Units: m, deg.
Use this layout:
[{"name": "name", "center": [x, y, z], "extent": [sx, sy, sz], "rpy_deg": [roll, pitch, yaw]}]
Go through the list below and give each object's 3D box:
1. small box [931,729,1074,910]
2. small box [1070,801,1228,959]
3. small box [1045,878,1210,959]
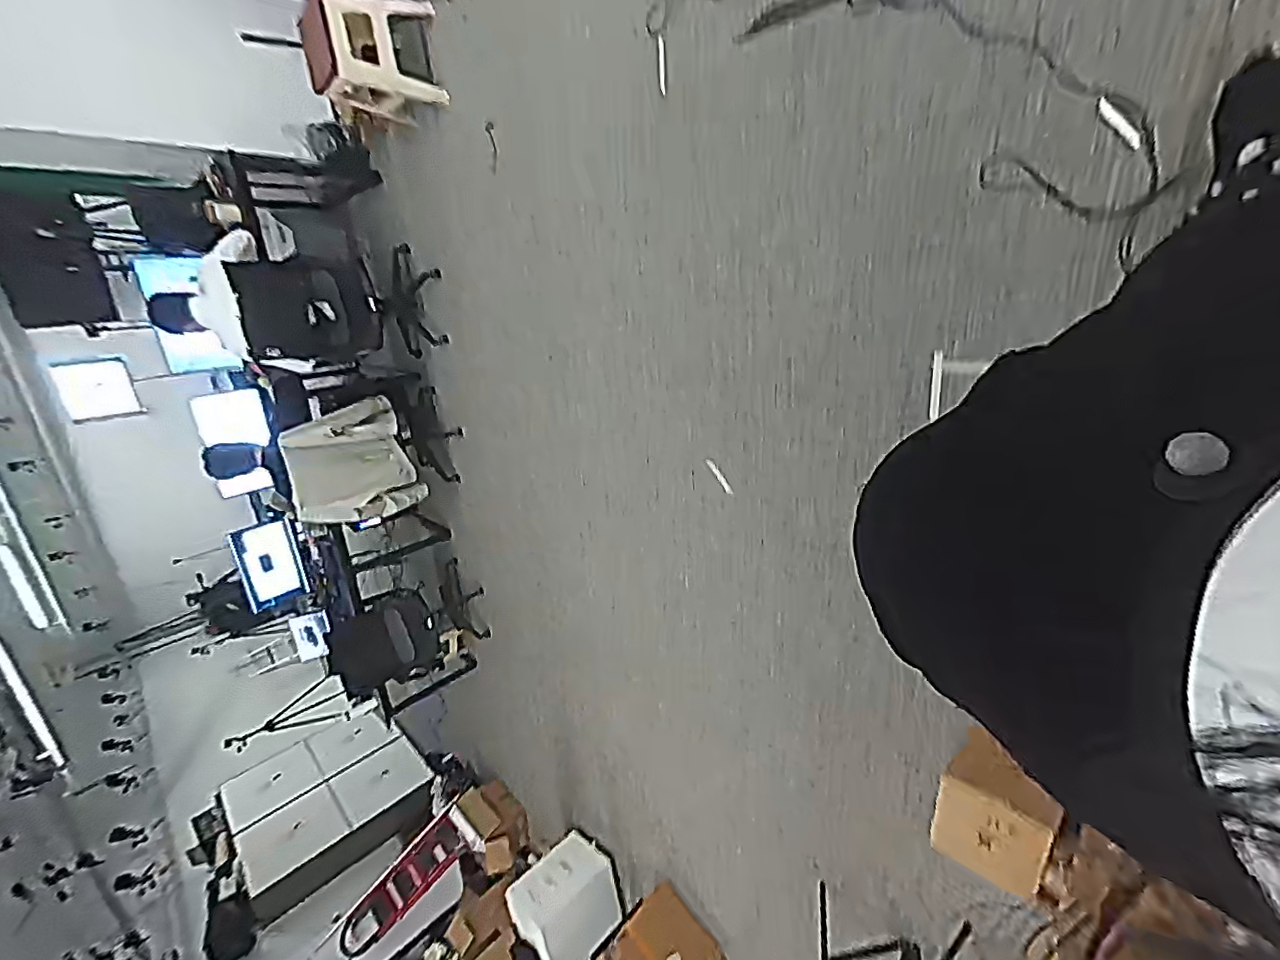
[{"name": "small box", "center": [0.651, 0.596, 0.972], "extent": [0.168, 0.176, 0.179], "rpy_deg": [17, 117, 44]}, {"name": "small box", "center": [0.786, 0.663, 0.850], "extent": [0.168, 0.176, 0.179], "rpy_deg": [13, 112, 43]}, {"name": "small box", "center": [0.668, 0.715, 0.747], "extent": [0.168, 0.176, 0.179], "rpy_deg": [15, 114, 42]}]
